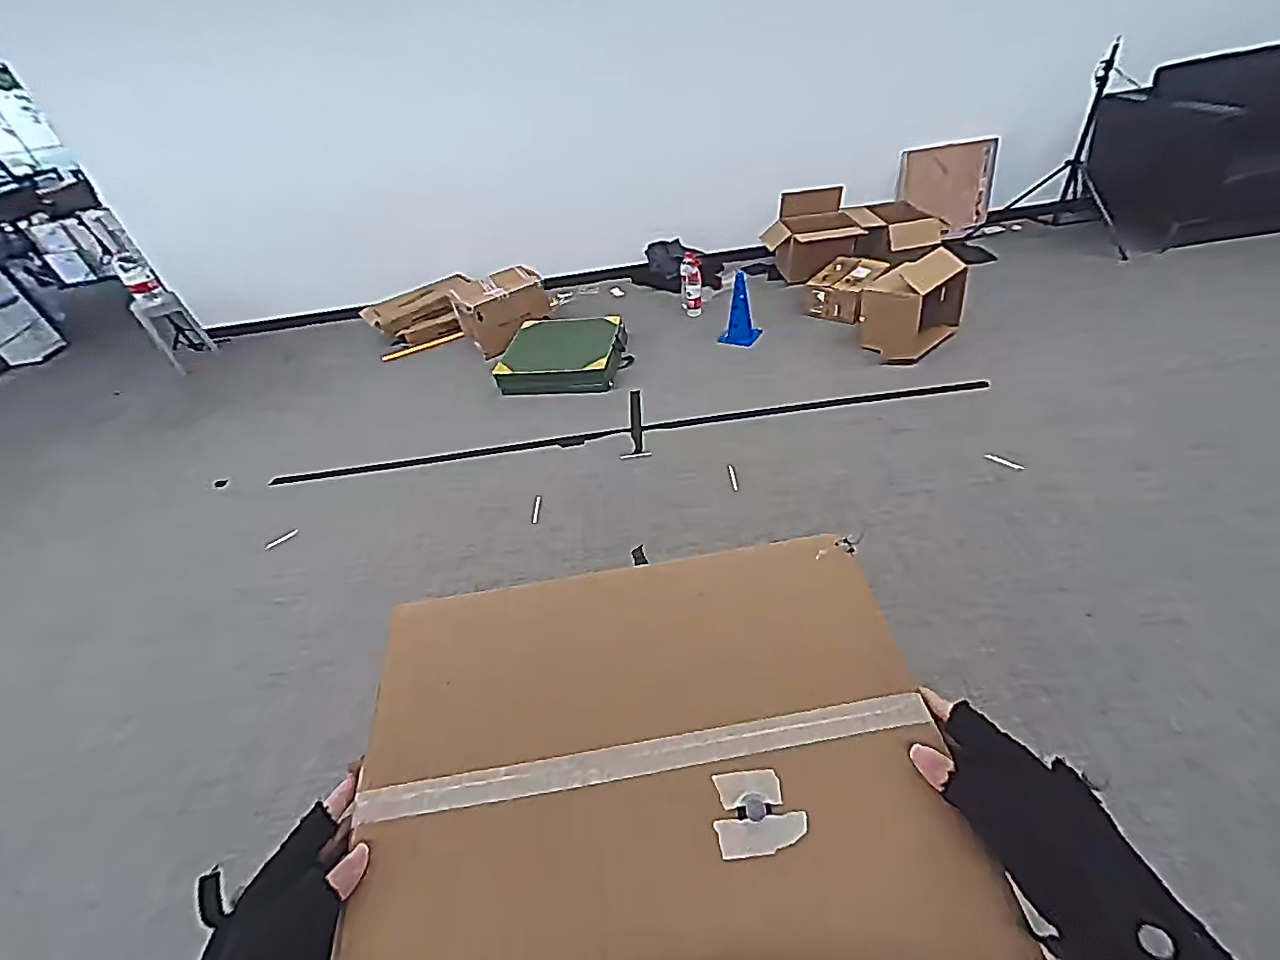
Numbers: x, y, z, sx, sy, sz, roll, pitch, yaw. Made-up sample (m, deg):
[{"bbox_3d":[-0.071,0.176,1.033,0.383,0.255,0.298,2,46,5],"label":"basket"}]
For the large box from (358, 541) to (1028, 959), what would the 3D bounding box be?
[{"bbox_3d":[0.018,0.298,0.509,0.408,0.320,0.320,-9,50,-2],"label":"large box"}]
